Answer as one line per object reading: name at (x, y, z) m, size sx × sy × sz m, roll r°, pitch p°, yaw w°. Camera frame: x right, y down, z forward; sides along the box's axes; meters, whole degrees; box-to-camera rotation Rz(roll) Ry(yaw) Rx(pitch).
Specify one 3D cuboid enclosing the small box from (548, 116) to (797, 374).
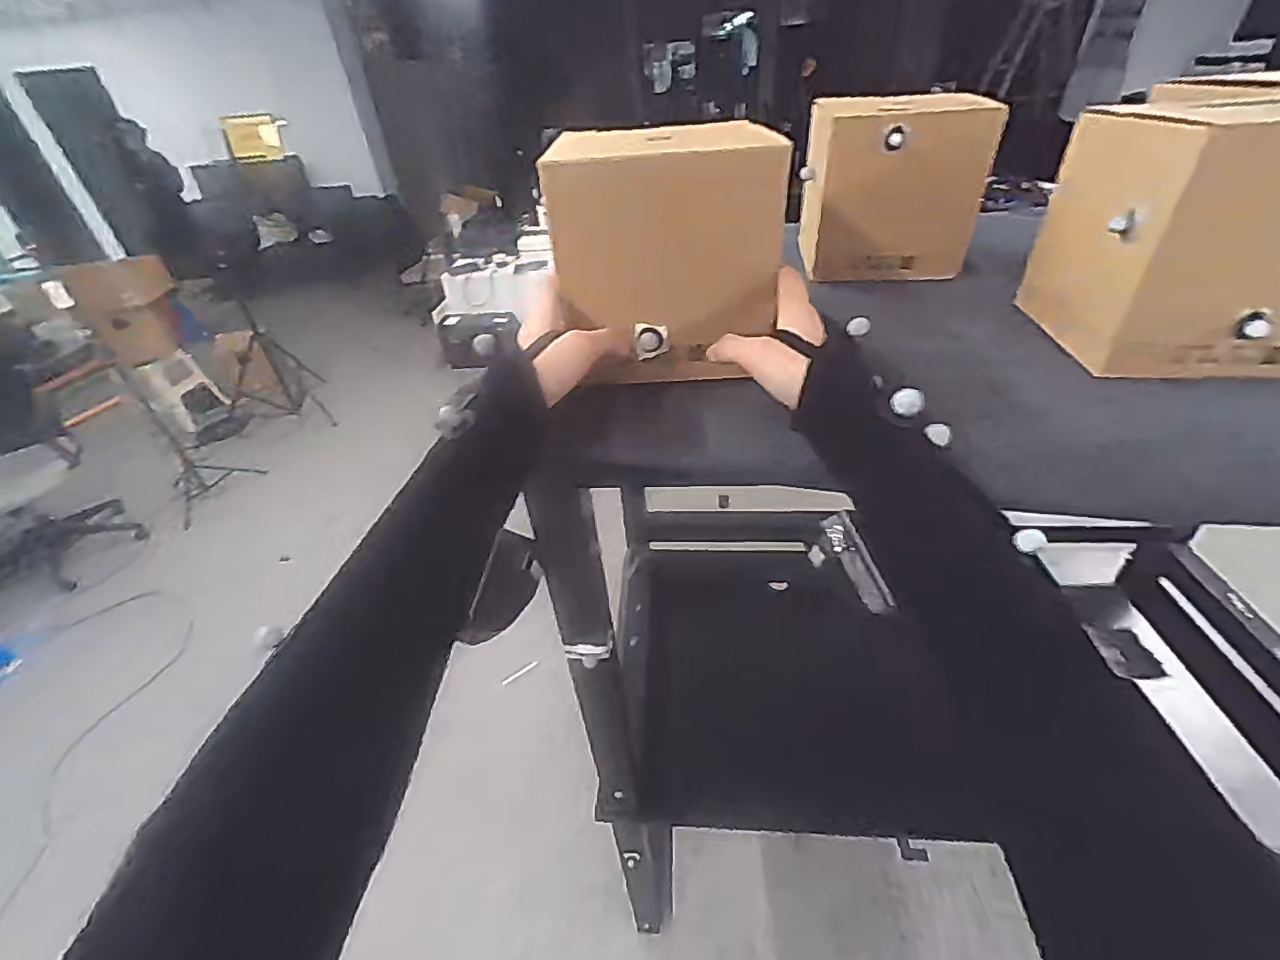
small box at (0.023, -0.204, 0.463) m, size 0.168 × 0.176 × 0.179 m, roll -4°, pitch 36°, yaw 1°

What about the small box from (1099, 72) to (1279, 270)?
small box at (0.669, -0.335, 0.590) m, size 0.168 × 0.176 × 0.179 m, roll -2°, pitch 37°, yaw 4°

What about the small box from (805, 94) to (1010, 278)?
small box at (0.296, -0.352, 0.648) m, size 0.168 × 0.176 × 0.179 m, roll 2°, pitch 38°, yaw 10°
